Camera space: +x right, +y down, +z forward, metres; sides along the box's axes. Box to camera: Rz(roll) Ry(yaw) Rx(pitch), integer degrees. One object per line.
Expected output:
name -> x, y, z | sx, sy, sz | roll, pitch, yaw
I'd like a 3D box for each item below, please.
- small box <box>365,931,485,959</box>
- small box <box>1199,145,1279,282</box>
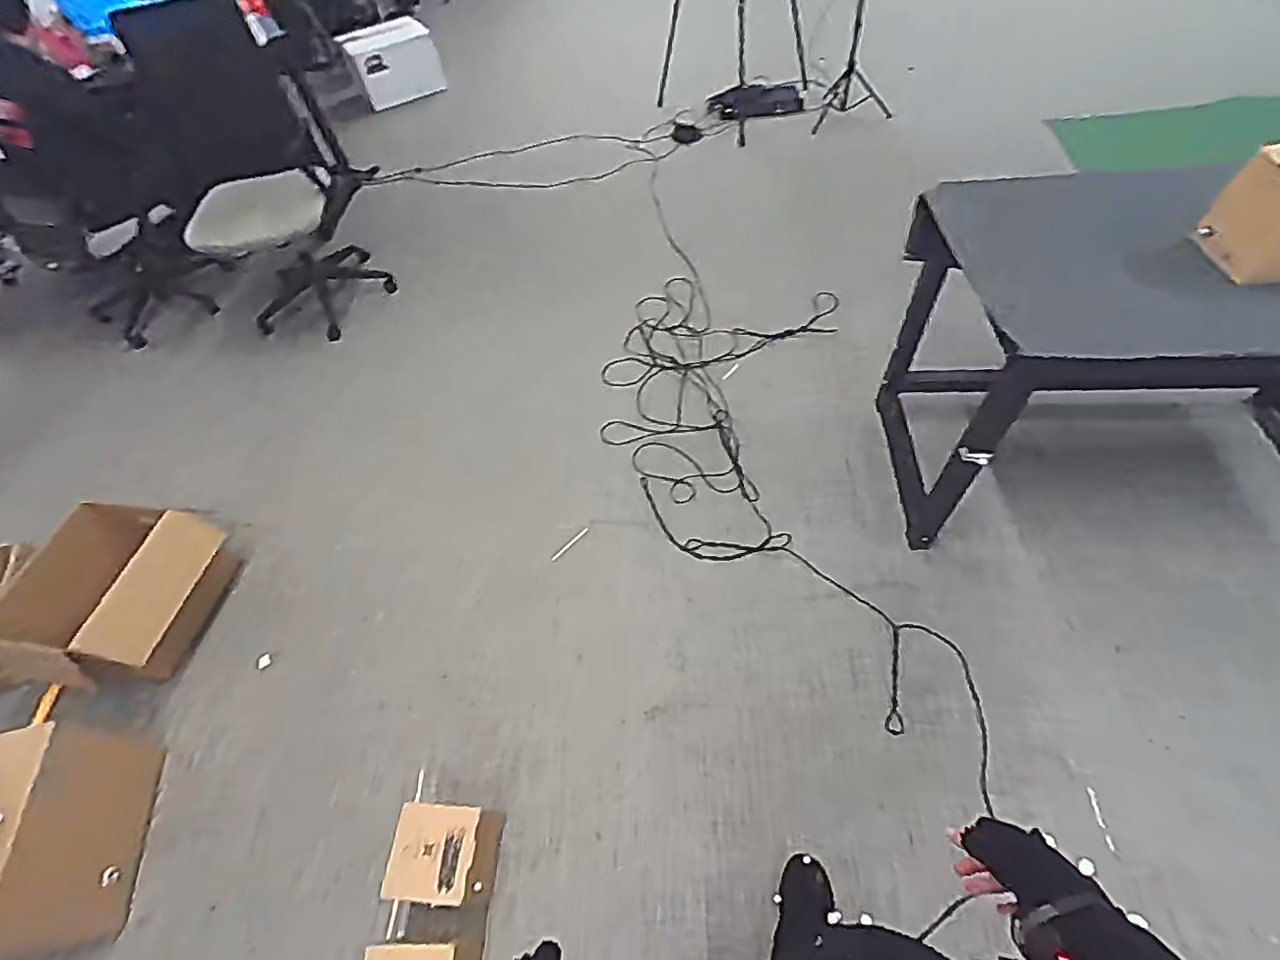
small box -> -0.422, 0.988, 1.041 | 0.179, 0.176, 0.168 | -4, 56, 5
small box -> 1.155, -0.466, 0.948 | 0.179, 0.176, 0.168 | -2, 55, 6
